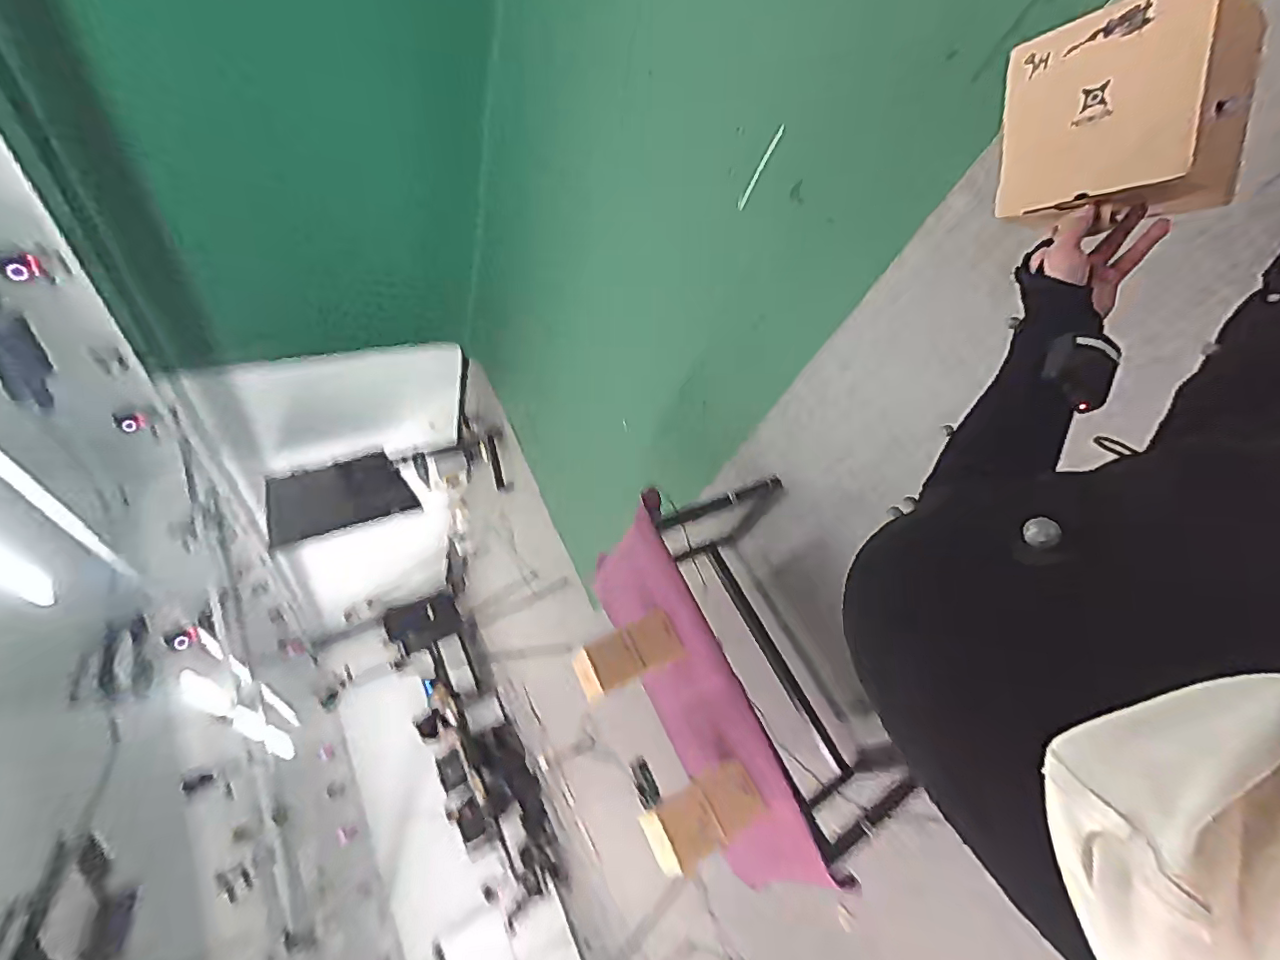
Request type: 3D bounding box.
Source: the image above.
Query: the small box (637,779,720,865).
[{"bbox_3d":[0.117,1.044,1.656,0.168,0.176,0.179,61,147,23],"label":"small box"}]

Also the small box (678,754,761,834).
[{"bbox_3d":[0.255,1.006,1.735,0.168,0.176,0.179,61,148,21],"label":"small box"}]

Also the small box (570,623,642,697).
[{"bbox_3d":[-0.112,0.607,1.834,0.168,0.176,0.179,62,148,21],"label":"small box"}]

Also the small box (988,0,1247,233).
[{"bbox_3d":[0.513,-0.379,0.589,0.168,0.176,0.179,14,110,56],"label":"small box"}]
